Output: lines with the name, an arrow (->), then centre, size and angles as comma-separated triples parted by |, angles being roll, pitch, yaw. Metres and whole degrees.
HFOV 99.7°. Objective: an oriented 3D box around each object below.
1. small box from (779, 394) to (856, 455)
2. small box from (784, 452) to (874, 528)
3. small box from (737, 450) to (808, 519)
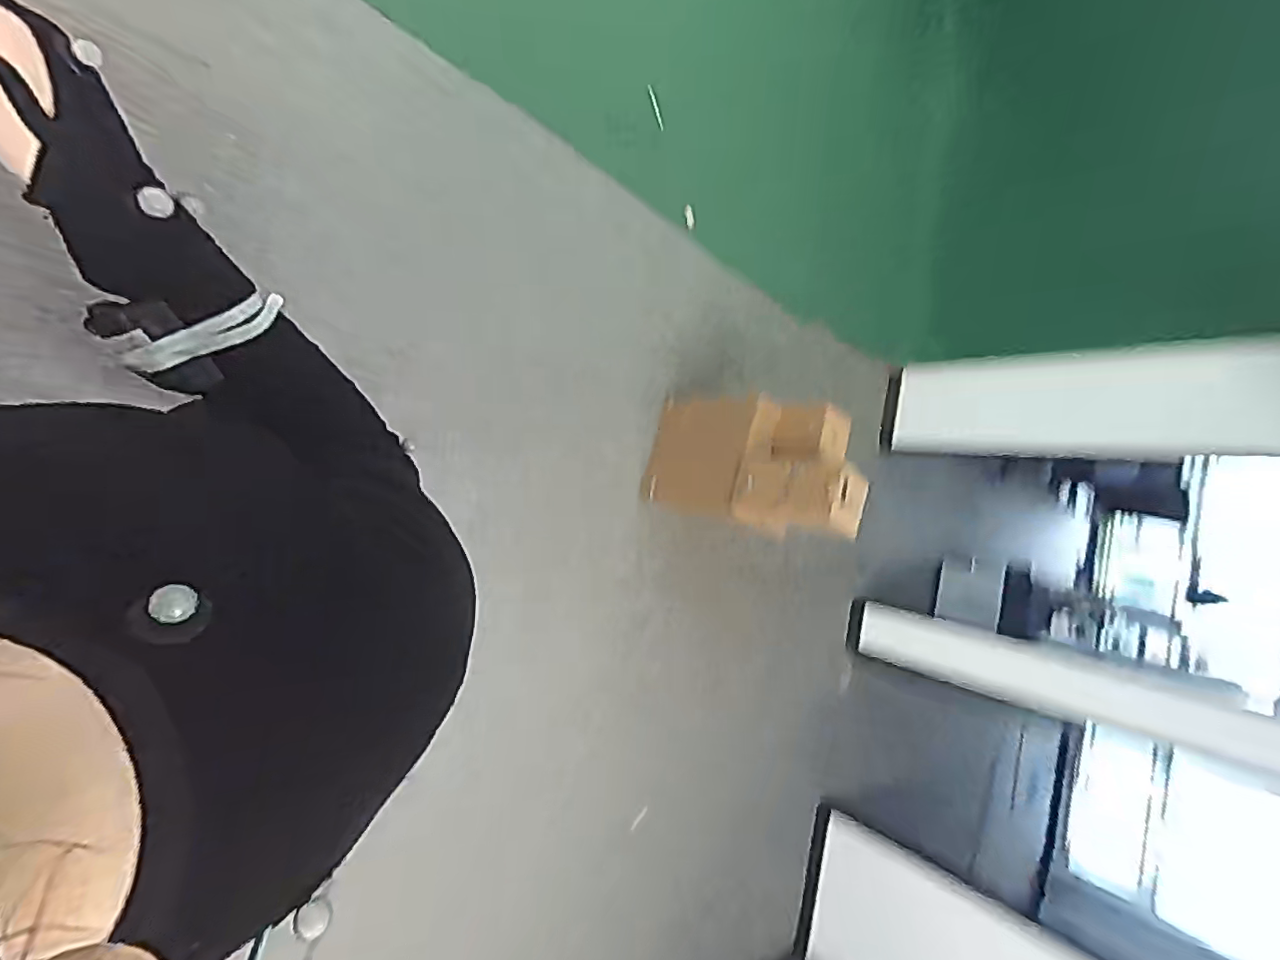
small box -> 0.583, -0.172, 1.787 | 0.168, 0.176, 0.179 | 19, 82, -41
small box -> 0.542, 0.026, 1.557 | 0.179, 0.176, 0.168 | 28, 77, -42
small box -> 0.430, 0.010, 1.679 | 0.179, 0.176, 0.168 | 23, 80, -41
